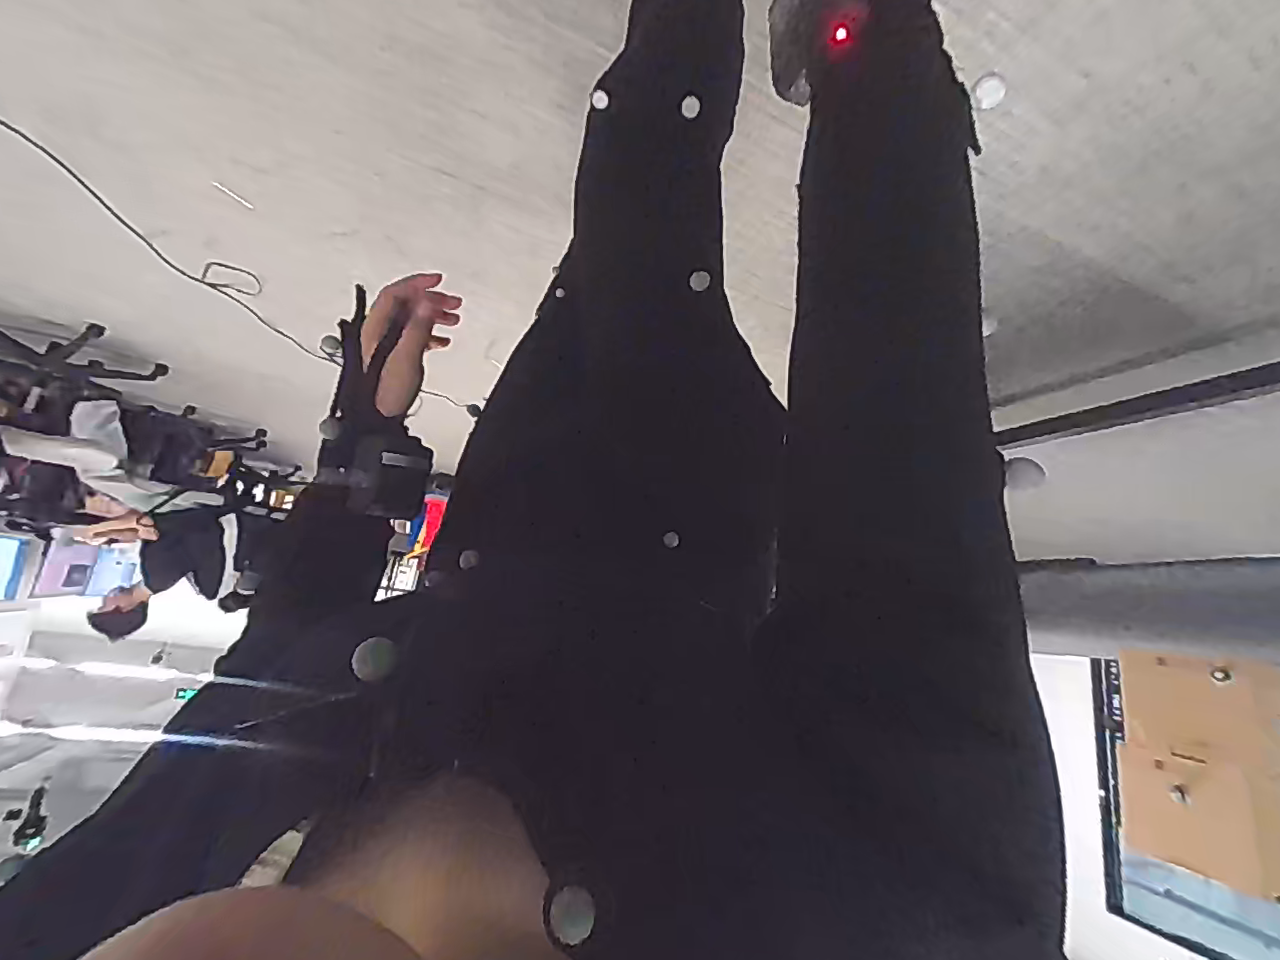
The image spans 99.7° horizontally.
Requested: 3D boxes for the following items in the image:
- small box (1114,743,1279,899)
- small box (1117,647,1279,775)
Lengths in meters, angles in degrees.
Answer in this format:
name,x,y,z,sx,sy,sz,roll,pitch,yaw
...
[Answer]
name,x,y,z,sx,sy,sz,roll,pitch,yaw
small box,0.923,0.541,0.883,0.179,0.176,0.168,13,164,-20
small box,0.944,0.378,0.906,0.179,0.176,0.168,14,165,-24
